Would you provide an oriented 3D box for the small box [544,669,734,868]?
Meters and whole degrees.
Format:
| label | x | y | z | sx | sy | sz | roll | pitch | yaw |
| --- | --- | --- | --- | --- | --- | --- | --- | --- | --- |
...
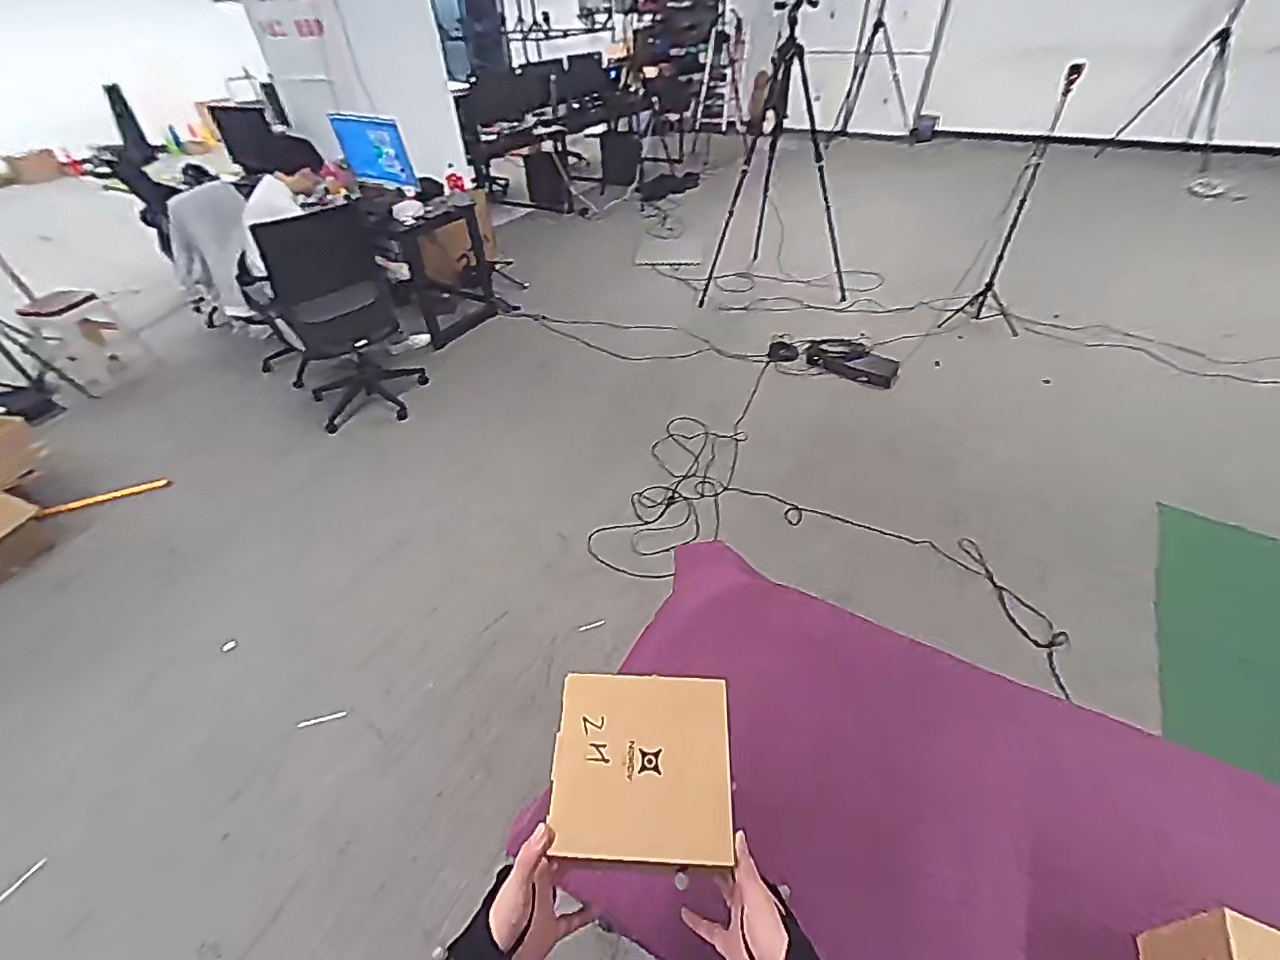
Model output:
| label | x | y | z | sx | sy | sz | roll | pitch | yaw |
| --- | --- | --- | --- | --- | --- | --- | --- | --- | --- |
| small box | 0.005 | 0.323 | 0.601 | 0.179 | 0.176 | 0.168 | 1 | 52 | 4 |

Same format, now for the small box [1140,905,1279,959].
| label | x | y | z | sx | sy | sz | roll | pitch | yaw |
| --- | --- | --- | --- | --- | --- | --- | --- | --- | --- |
| small box | 0.676 | 0.594 | 0.561 | 0.179 | 0.176 | 0.168 | 19 | 47 | 23 |
